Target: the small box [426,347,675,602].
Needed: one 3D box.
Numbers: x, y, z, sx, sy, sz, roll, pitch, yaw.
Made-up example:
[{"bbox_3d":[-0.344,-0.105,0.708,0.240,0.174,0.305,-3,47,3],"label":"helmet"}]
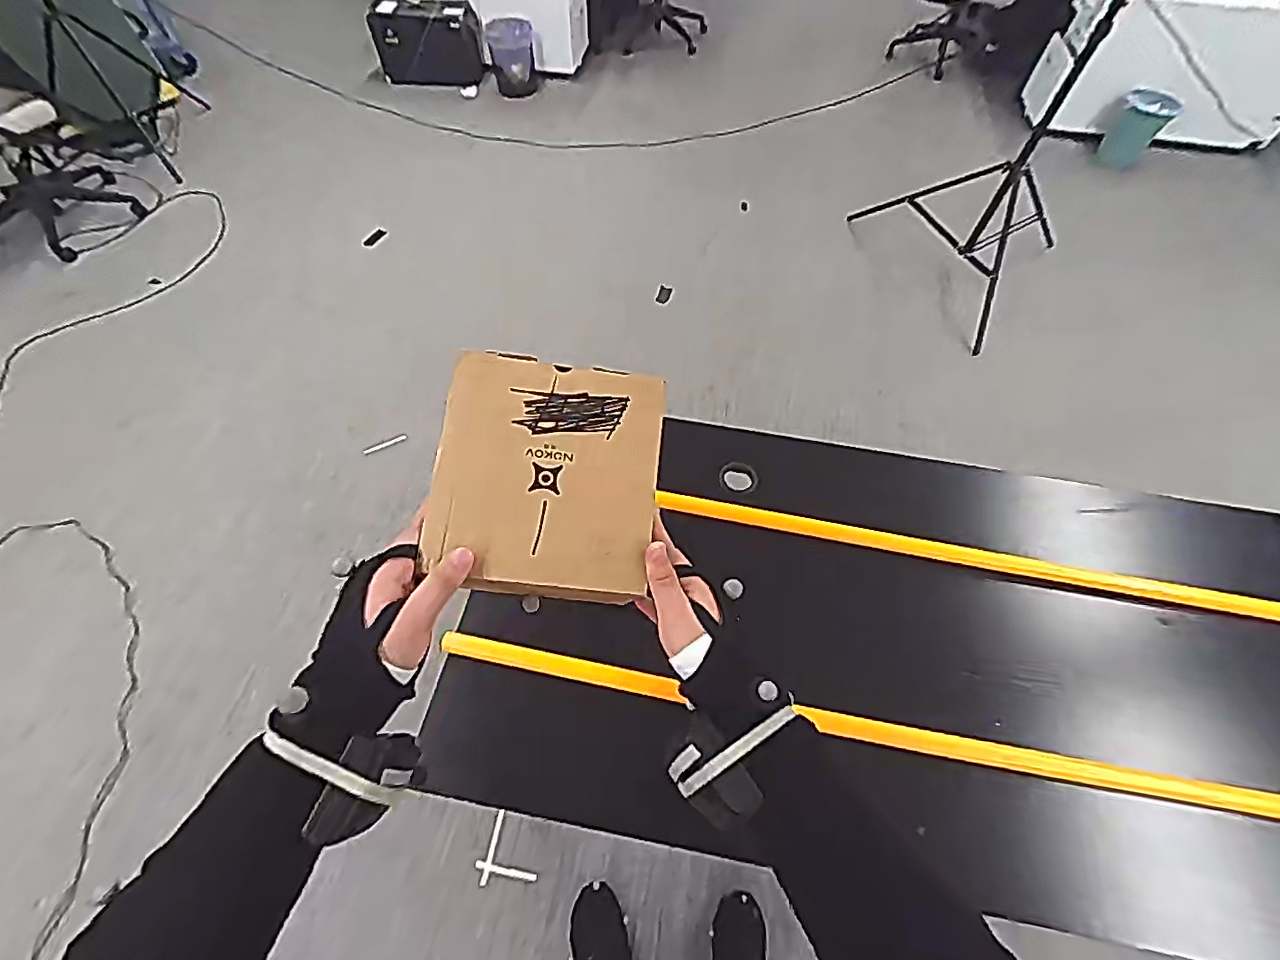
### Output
[{"bbox_3d":[-0.071,0.010,0.481,0.168,0.176,0.179,7,75,-6],"label":"small box"}]
